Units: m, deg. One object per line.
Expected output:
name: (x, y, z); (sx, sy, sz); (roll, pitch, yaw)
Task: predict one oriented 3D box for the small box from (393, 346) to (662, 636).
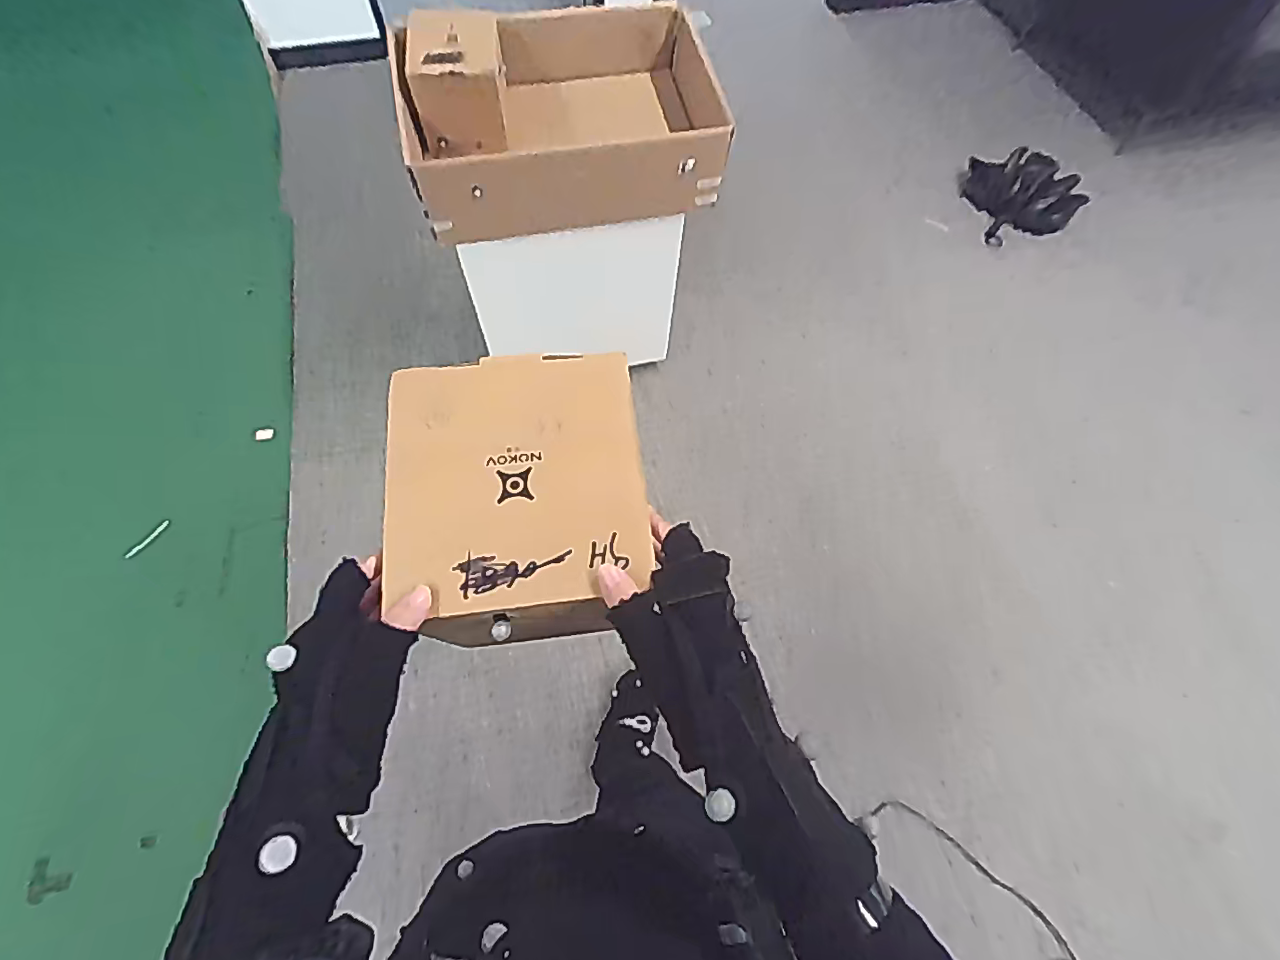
small box: (-0.078, 0.019, 0.434); (0.168, 0.176, 0.179); (-7, 69, -3)
